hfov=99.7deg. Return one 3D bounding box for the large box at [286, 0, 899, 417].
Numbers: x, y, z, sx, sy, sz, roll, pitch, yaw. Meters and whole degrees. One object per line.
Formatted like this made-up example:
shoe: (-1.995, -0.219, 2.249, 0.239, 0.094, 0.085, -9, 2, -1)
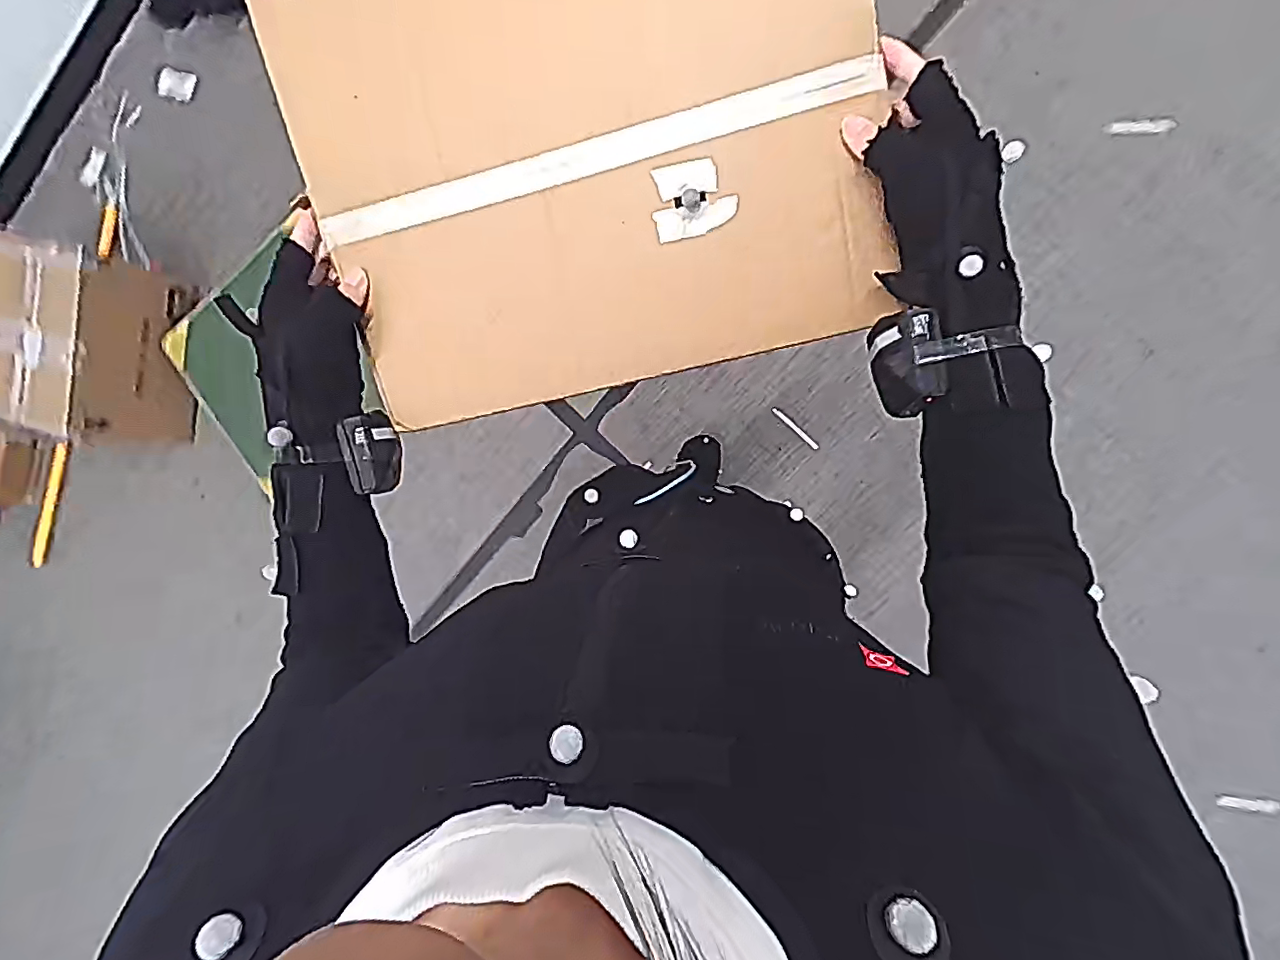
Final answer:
large box: (-0.021, -0.271, 0.537, 0.408, 0.320, 0.320, -11, 104, 8)
